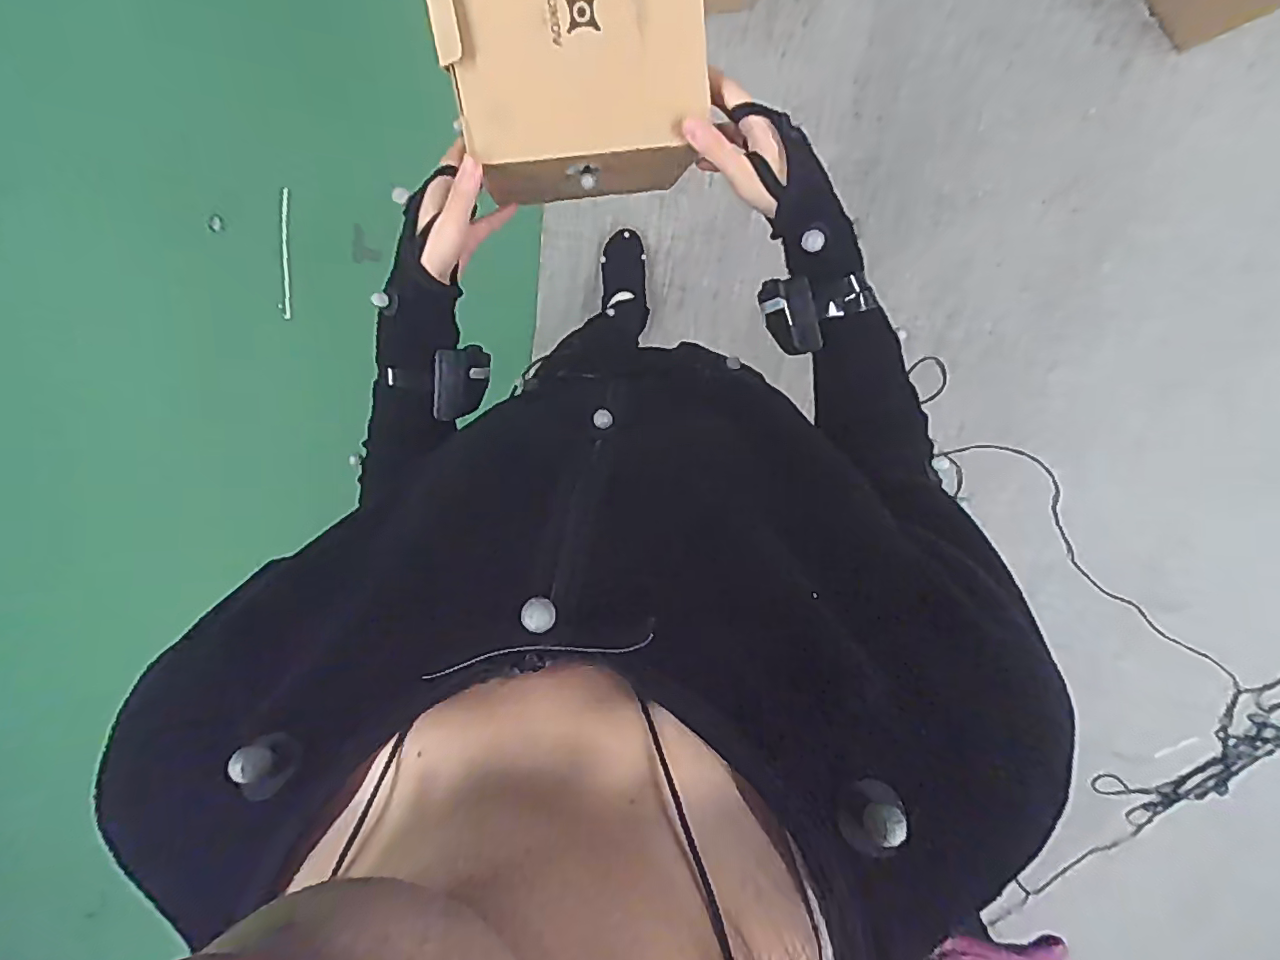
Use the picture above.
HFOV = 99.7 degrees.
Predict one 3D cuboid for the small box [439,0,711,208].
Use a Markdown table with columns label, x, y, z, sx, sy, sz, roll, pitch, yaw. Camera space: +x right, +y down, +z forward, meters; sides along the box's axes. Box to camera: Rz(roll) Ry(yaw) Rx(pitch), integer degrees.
| label | x | y | z | sx | sy | sz | roll | pitch | yaw |
| --- | --- | --- | --- | --- | --- | --- | --- | --- | --- |
| small box | -0.052 | -0.328 | 0.432 | 0.179 | 0.176 | 0.168 | -8 | 108 | -5 |
